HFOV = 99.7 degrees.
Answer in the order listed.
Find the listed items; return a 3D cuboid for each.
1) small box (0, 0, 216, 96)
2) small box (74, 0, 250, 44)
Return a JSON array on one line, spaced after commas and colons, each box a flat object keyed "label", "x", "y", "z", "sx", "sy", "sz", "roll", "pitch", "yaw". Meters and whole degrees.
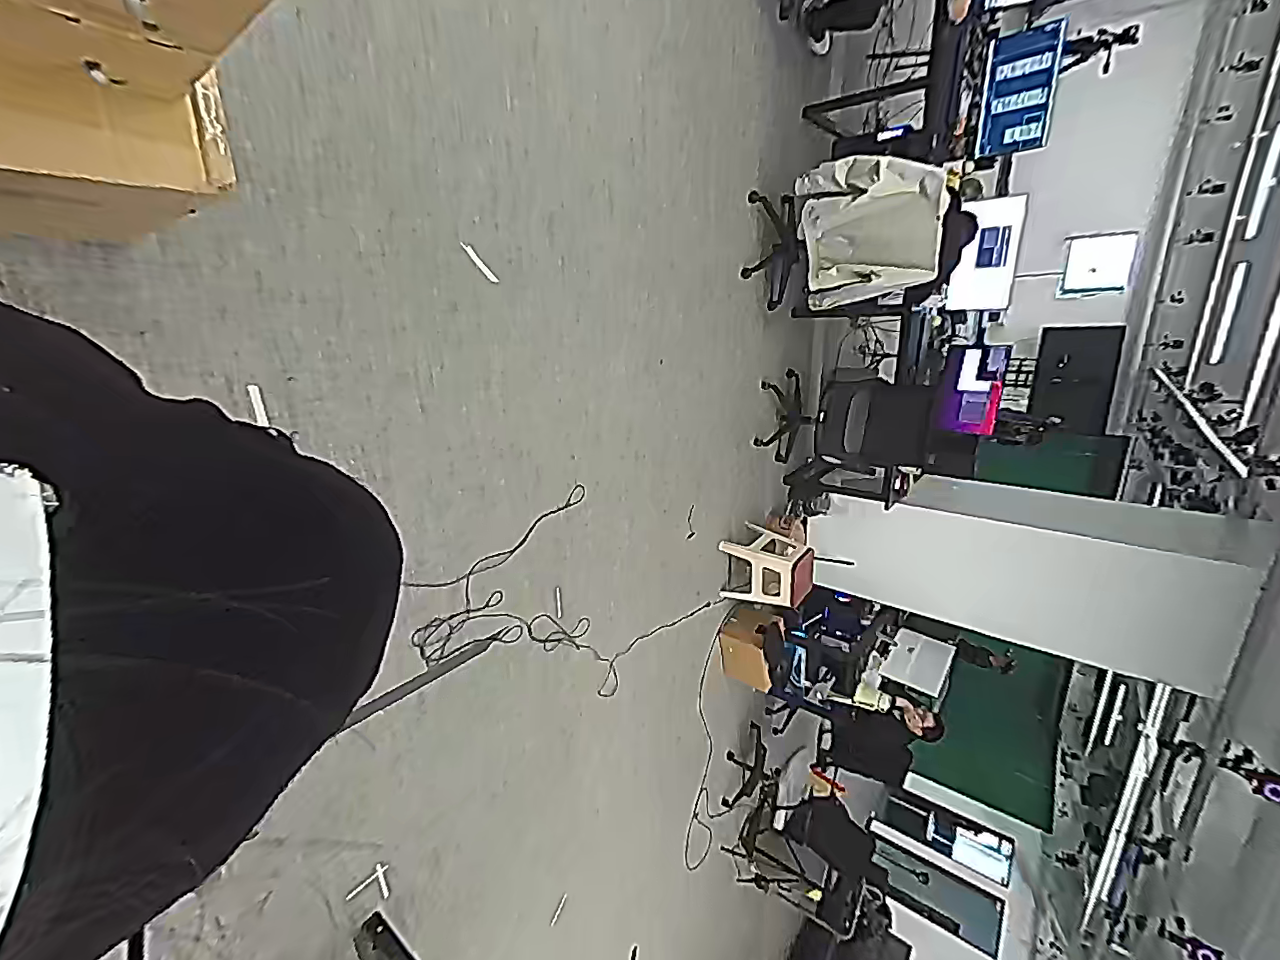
[{"label": "small box", "x": -0.554, "y": -0.514, "z": 0.525, "sx": 0.168, "sy": 0.176, "sz": 0.179, "roll": -20, "pitch": 115, "yaw": -47}, {"label": "small box", "x": -0.424, "y": -0.491, "z": 0.426, "sx": 0.168, "sy": 0.176, "sz": 0.179, "roll": -19, "pitch": 115, "yaw": -48}]
